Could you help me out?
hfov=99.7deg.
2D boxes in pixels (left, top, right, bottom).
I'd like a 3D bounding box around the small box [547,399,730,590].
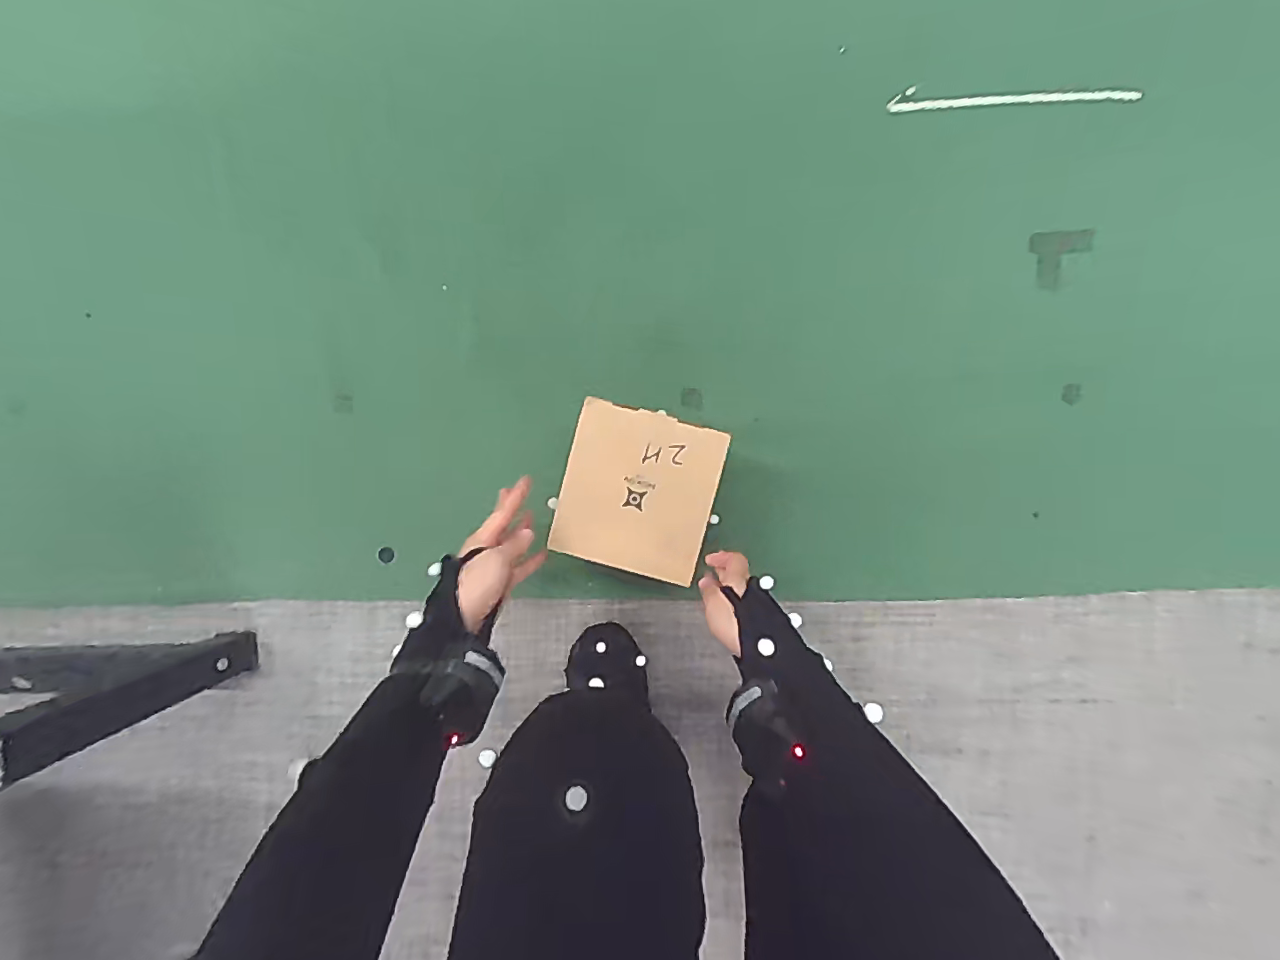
[{"bbox_3d":[0.002,0.013,0.661,0.168,0.176,0.179,15,92,1],"label":"small box"}]
